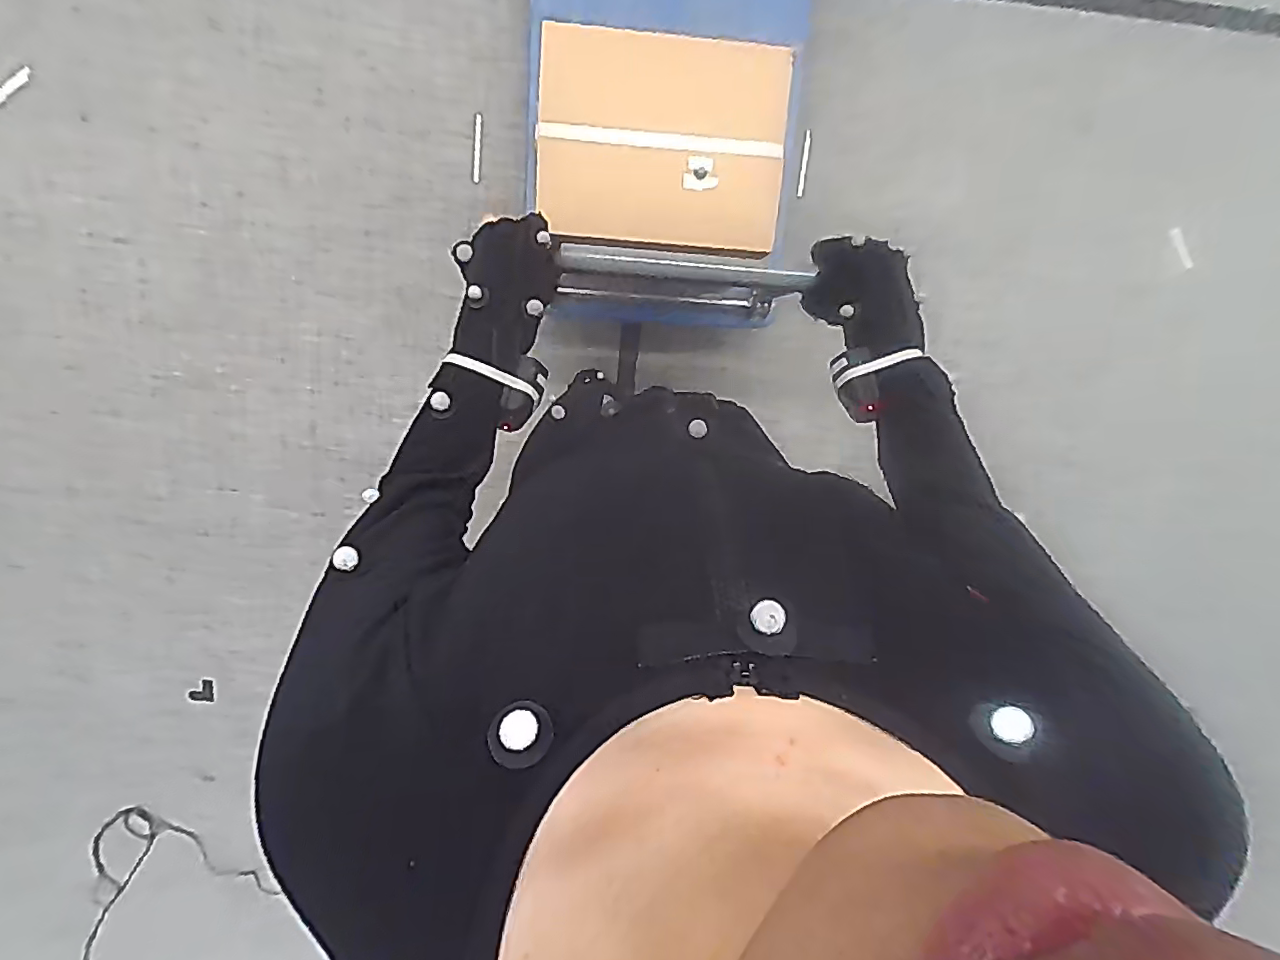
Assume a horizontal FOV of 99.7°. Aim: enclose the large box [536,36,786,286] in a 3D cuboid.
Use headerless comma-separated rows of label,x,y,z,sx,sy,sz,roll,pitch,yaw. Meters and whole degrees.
large box,0.021,-0.565,1.030,0.408,0.320,0.320,3,101,-4
